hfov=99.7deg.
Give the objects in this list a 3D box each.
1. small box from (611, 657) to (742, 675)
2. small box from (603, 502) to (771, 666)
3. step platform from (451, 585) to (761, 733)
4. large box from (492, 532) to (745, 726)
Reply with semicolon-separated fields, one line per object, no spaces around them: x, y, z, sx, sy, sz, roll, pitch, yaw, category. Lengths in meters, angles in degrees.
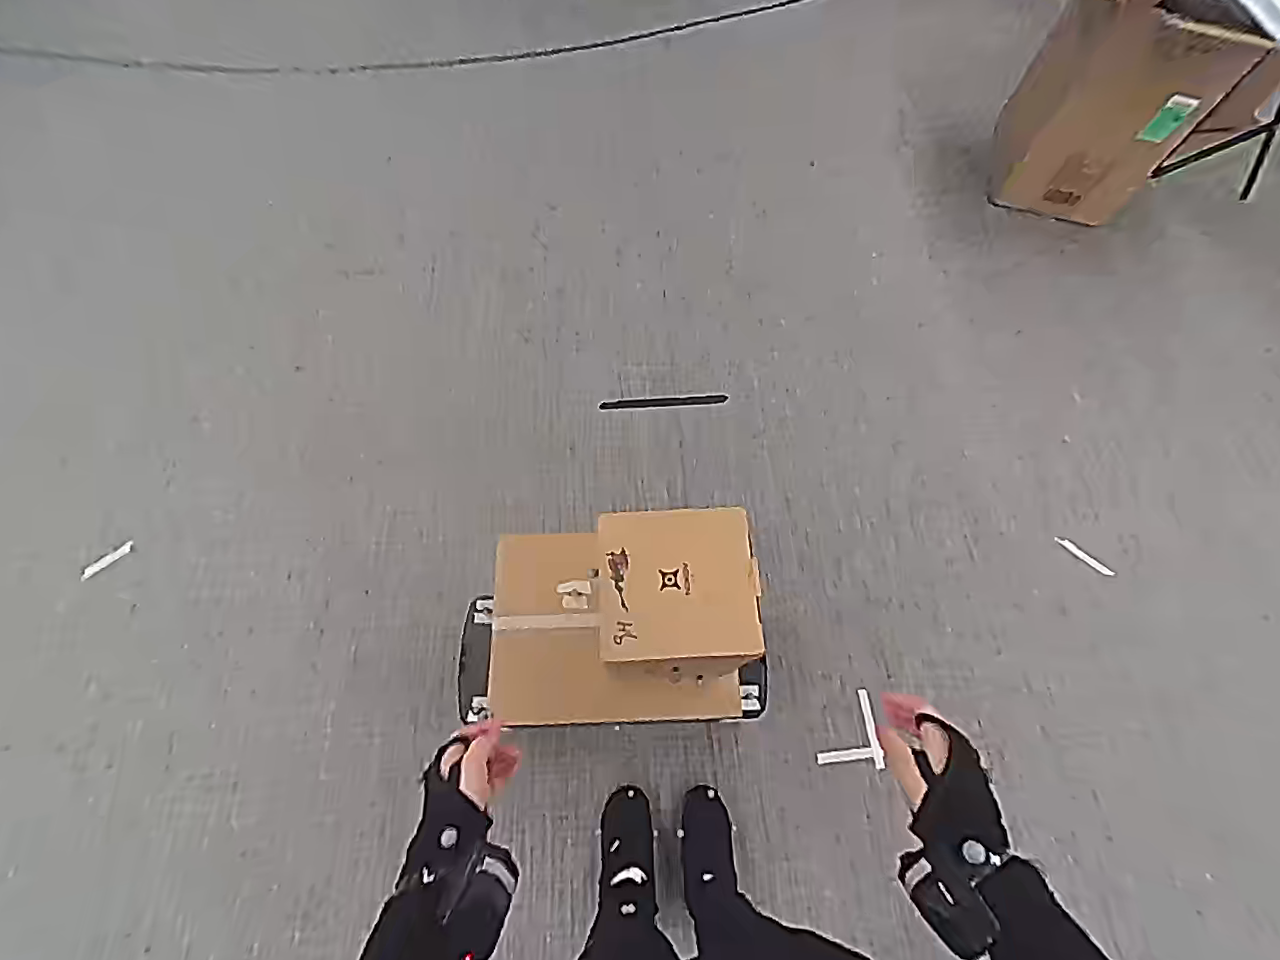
0.045;0.200;0.811;0.179;0.176;0.168;-1;66;-1;small box
0.045;0.133;0.661;0.179;0.176;0.168;-2;66;-3;small box
-0.070;0.410;1.243;0.684;0.204;0.286;3;66;1;step platform
-0.038;0.289;1.037;0.408;0.320;0.320;-2;66;-1;large box
